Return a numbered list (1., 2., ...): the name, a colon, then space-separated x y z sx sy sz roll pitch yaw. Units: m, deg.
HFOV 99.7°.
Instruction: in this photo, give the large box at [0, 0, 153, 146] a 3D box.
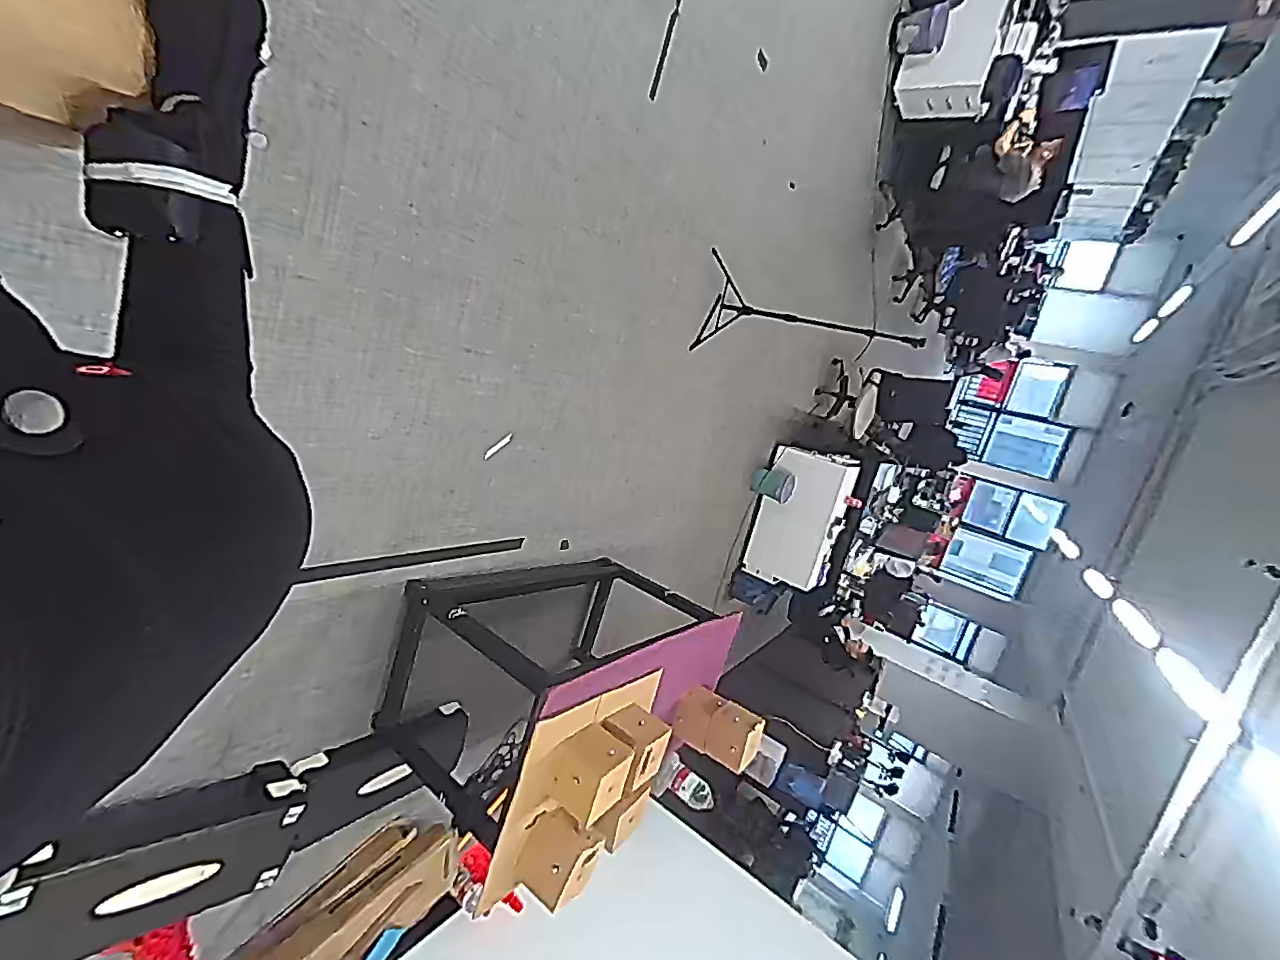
1. large box: -0.545 -0.408 0.254 0.408 0.320 0.320 -9 117 -59
